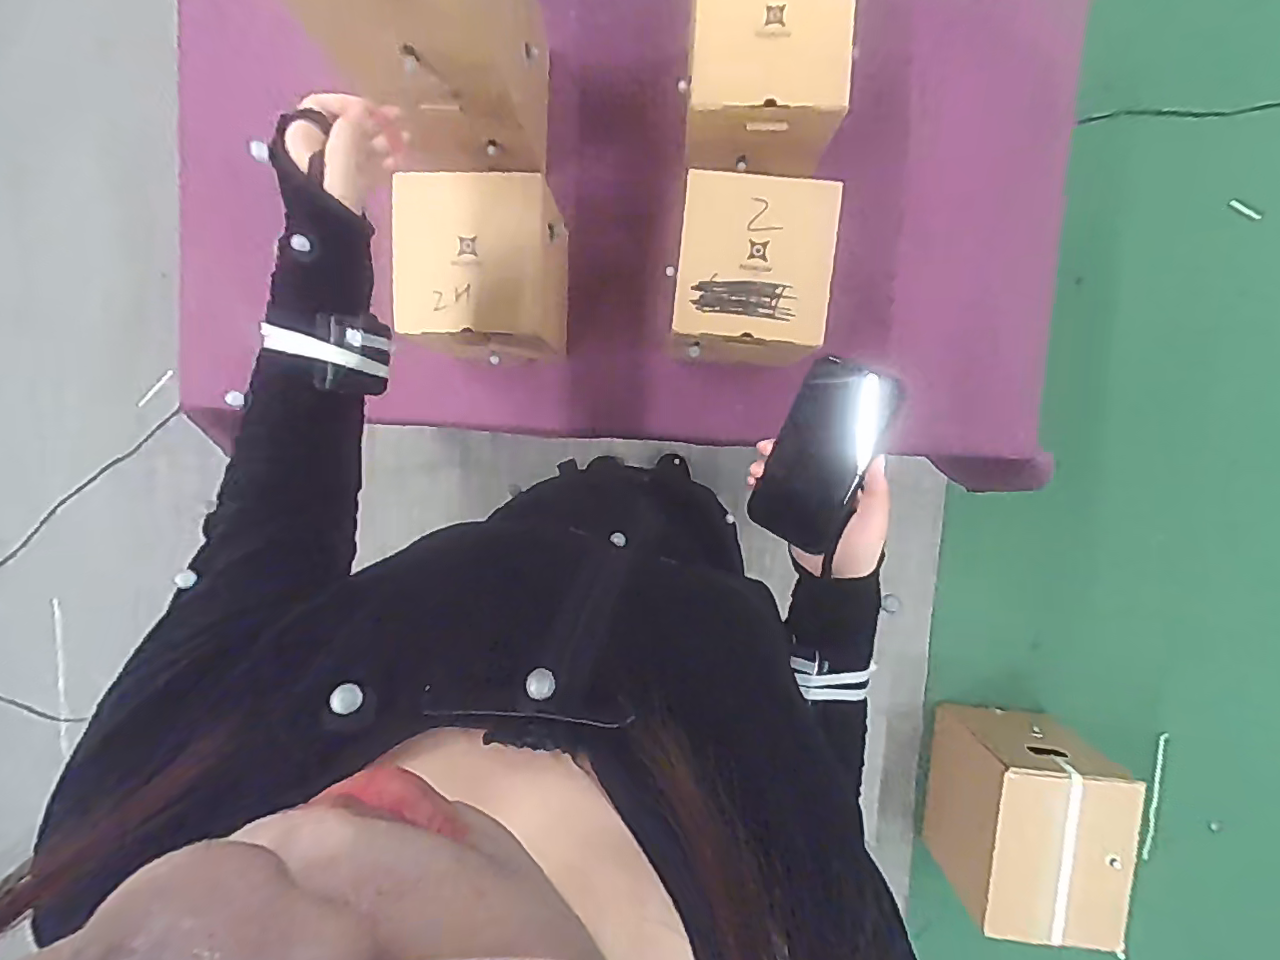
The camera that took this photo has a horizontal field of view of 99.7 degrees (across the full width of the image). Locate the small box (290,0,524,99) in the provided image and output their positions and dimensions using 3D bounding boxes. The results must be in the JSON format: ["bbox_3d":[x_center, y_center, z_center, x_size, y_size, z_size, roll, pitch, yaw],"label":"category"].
[{"bbox_3d":[-0.203,-0.482,0.486,0.168,0.176,0.179,4,96,1],"label":"small box"}]

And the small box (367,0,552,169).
[{"bbox_3d":[-0.204,-0.499,0.650,0.168,0.176,0.179,4,95,1],"label":"small box"}]

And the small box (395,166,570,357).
[{"bbox_3d":[-0.183,-0.256,0.668,0.168,0.176,0.179,2,94,3],"label":"small box"}]
